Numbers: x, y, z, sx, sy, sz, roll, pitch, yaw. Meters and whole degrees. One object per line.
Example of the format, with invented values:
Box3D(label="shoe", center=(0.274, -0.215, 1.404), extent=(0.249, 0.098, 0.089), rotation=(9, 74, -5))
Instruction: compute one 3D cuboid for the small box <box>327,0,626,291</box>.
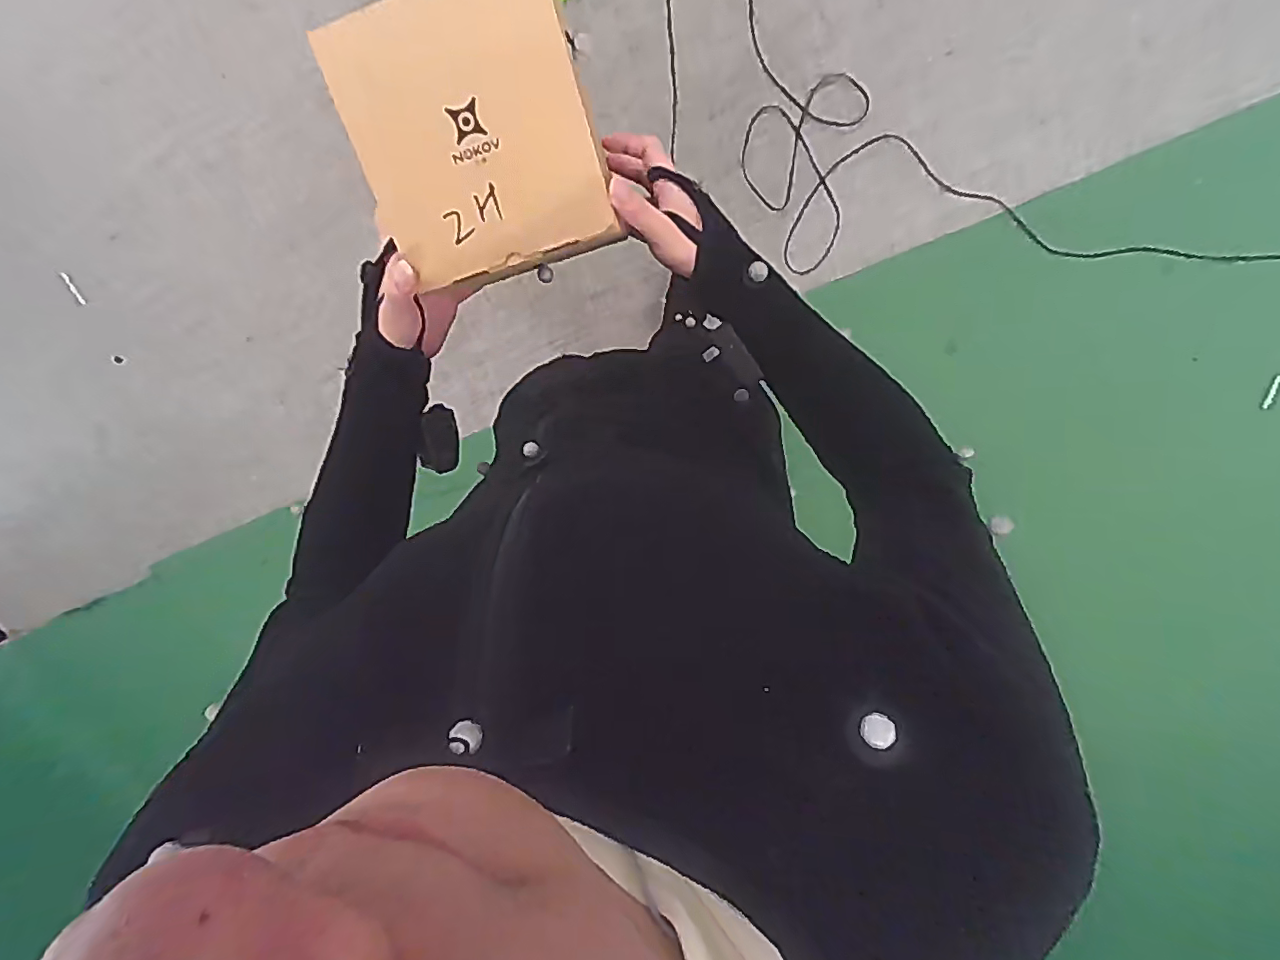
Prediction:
Box3D(label="small box", center=(-0.114, -0.273, 0.463), extent=(0.168, 0.176, 0.179), rotation=(-14, 111, 7))
